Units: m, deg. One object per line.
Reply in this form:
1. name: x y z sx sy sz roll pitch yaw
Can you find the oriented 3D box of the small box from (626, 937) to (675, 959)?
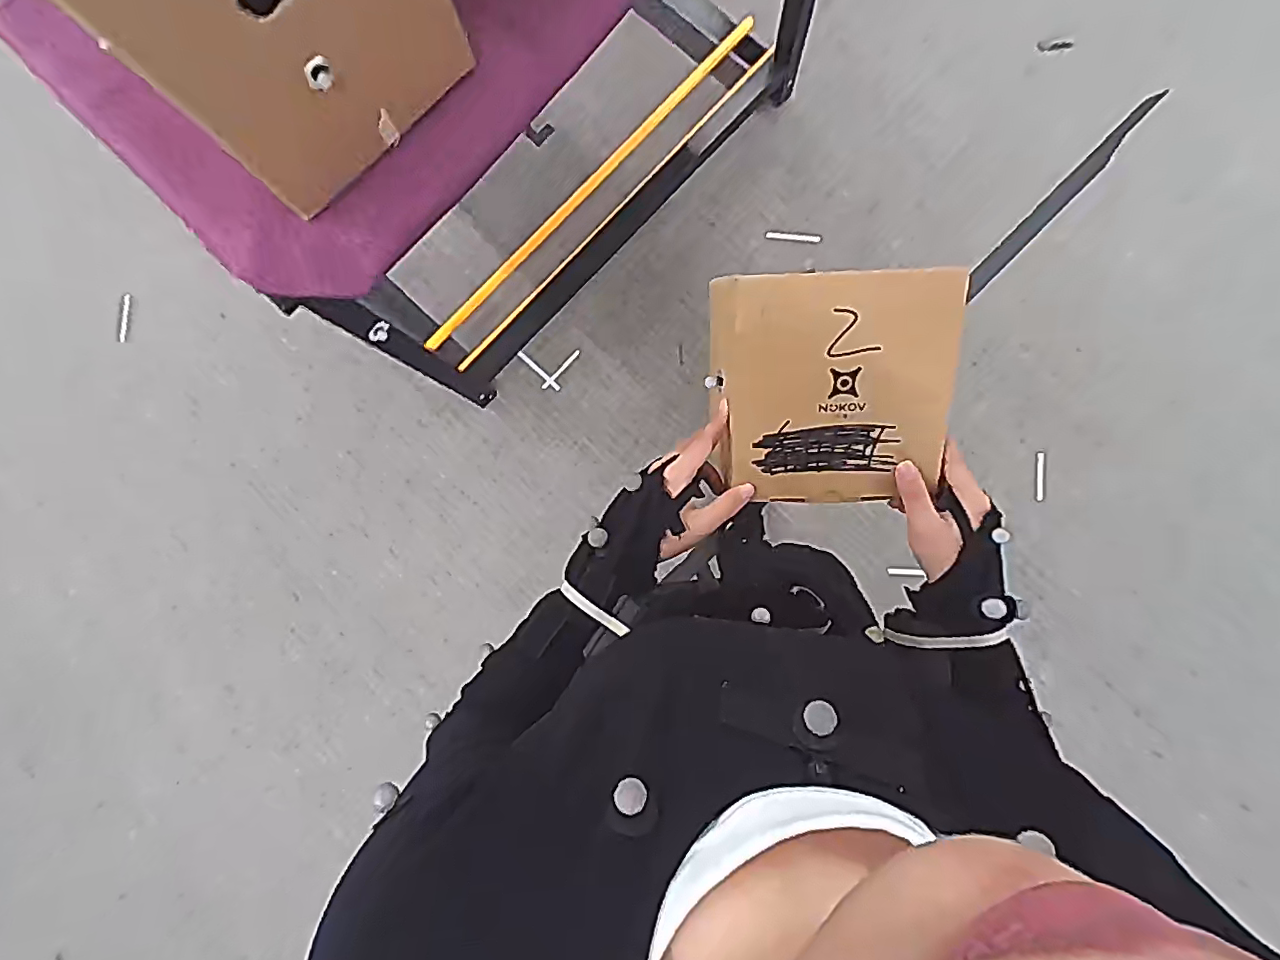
1. small box: 0.019 1.212 1.222 0.168 0.176 0.179 37 89 5
